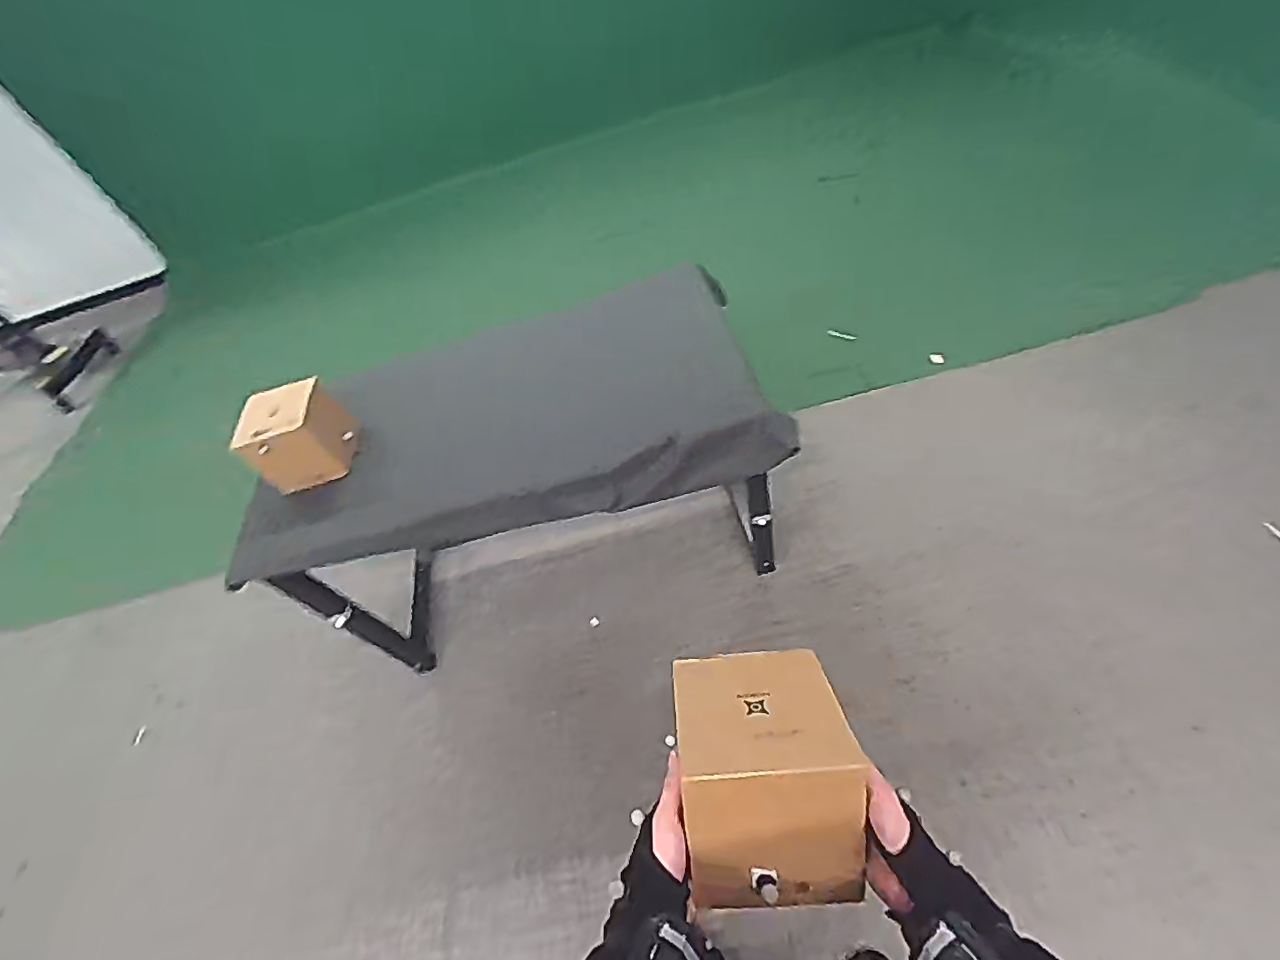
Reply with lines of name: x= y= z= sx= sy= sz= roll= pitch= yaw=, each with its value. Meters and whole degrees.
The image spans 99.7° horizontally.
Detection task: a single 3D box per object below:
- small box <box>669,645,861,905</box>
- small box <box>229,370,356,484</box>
small box: x=0.121 y=0.303 z=0.579 sx=0.168 sy=0.176 sz=0.179 roll=-6 pitch=18 yaw=2
small box: x=-0.792 y=-0.120 z=1.256 sx=0.168 sy=0.176 sz=0.179 roll=-17 pitch=51 yaw=3
